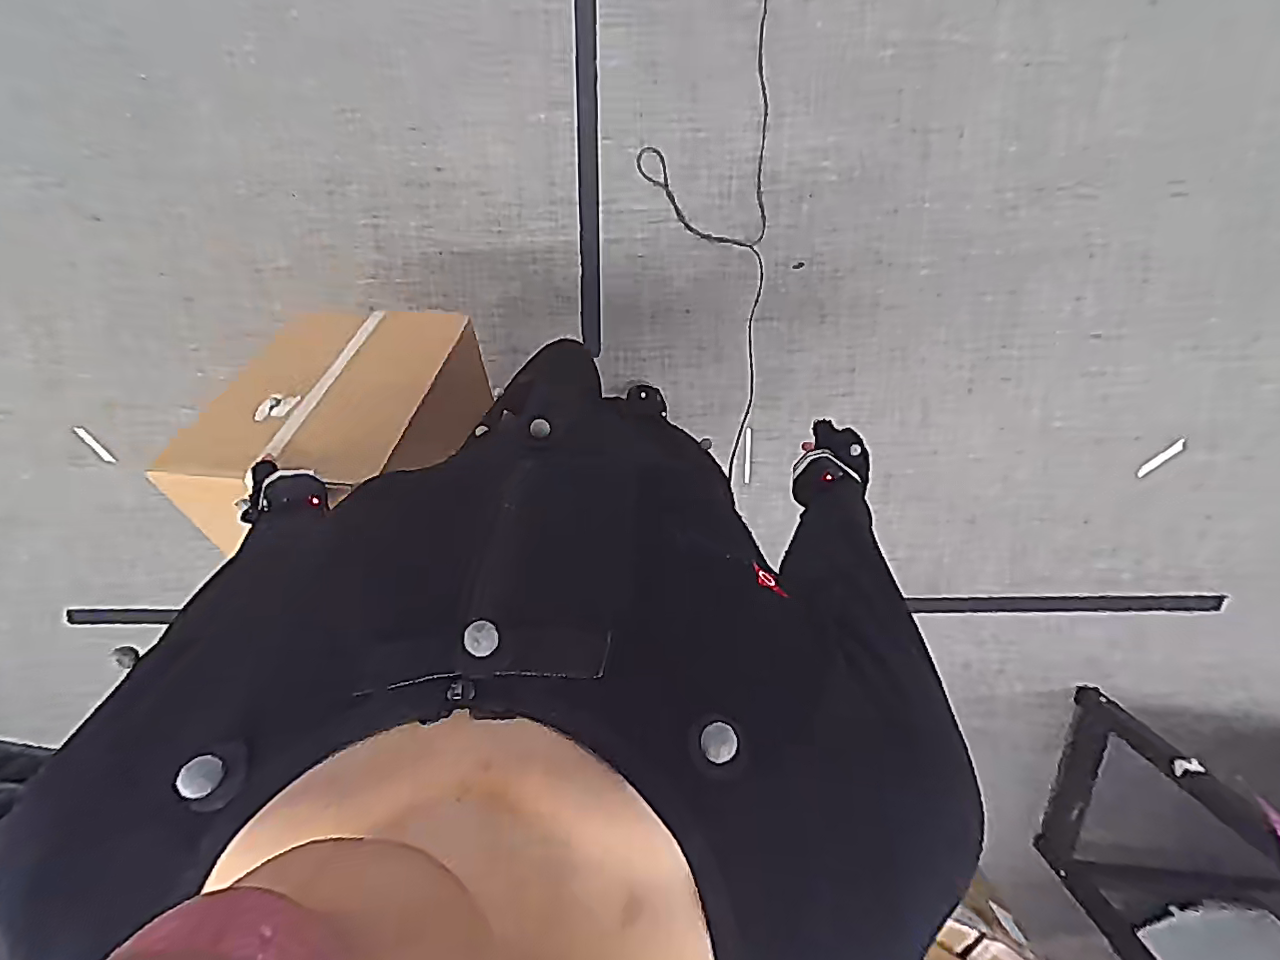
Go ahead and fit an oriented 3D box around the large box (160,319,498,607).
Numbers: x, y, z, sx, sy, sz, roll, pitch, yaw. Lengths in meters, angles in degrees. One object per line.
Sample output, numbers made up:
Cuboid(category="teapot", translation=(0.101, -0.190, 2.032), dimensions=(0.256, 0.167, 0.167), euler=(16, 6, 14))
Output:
Cuboid(category="large box", translation=(-0.472, -0.036, 0.948), dimensions=(0.320, 0.408, 0.320), euler=(2, 138, 5))
